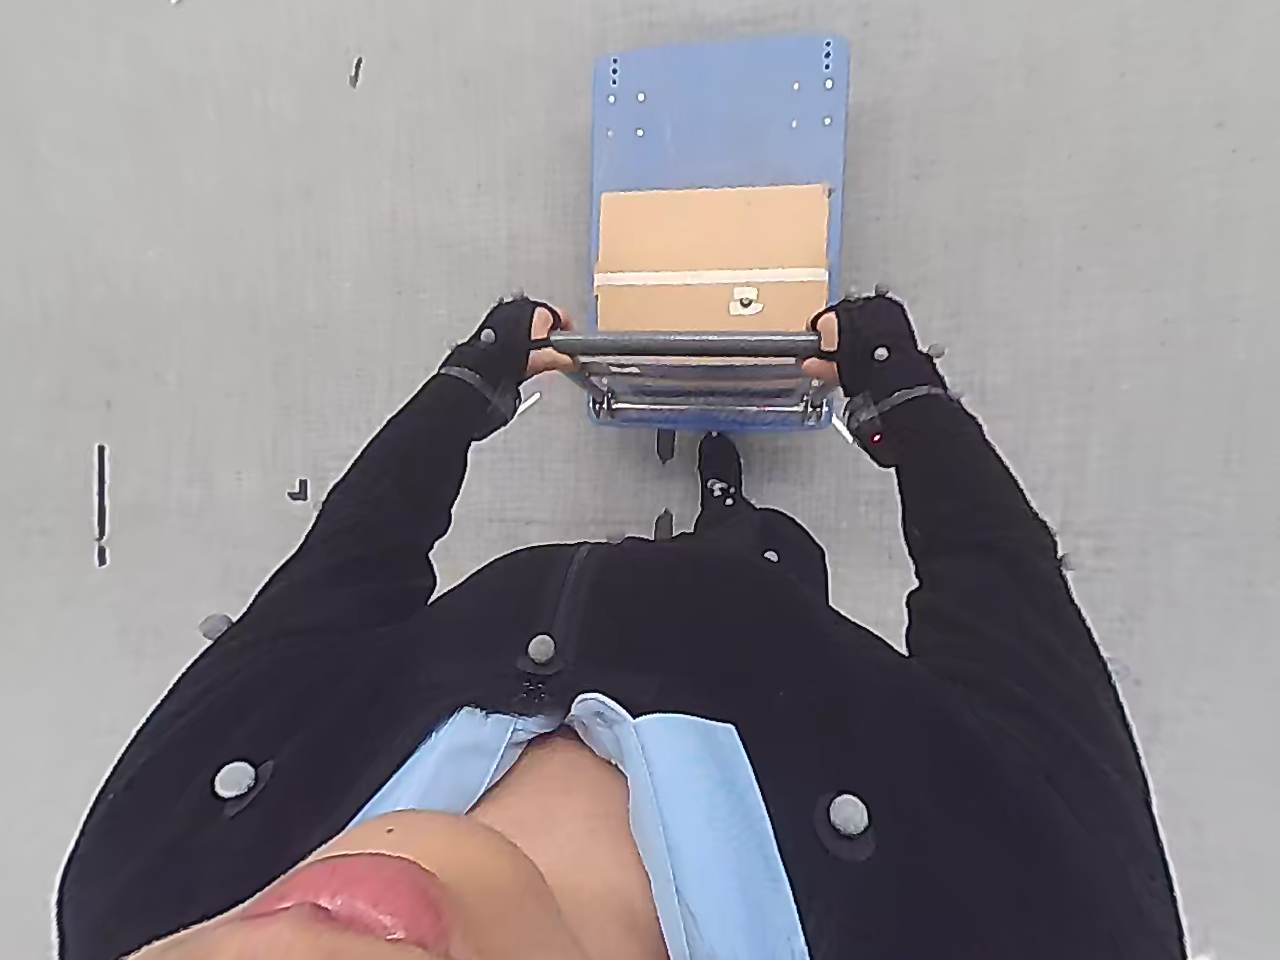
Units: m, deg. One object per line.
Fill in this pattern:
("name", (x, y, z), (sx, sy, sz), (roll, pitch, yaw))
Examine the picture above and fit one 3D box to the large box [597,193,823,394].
("large box", (0.136, -0.352, 1.112), (0.408, 0.320, 0.320), (2, 93, 7))
